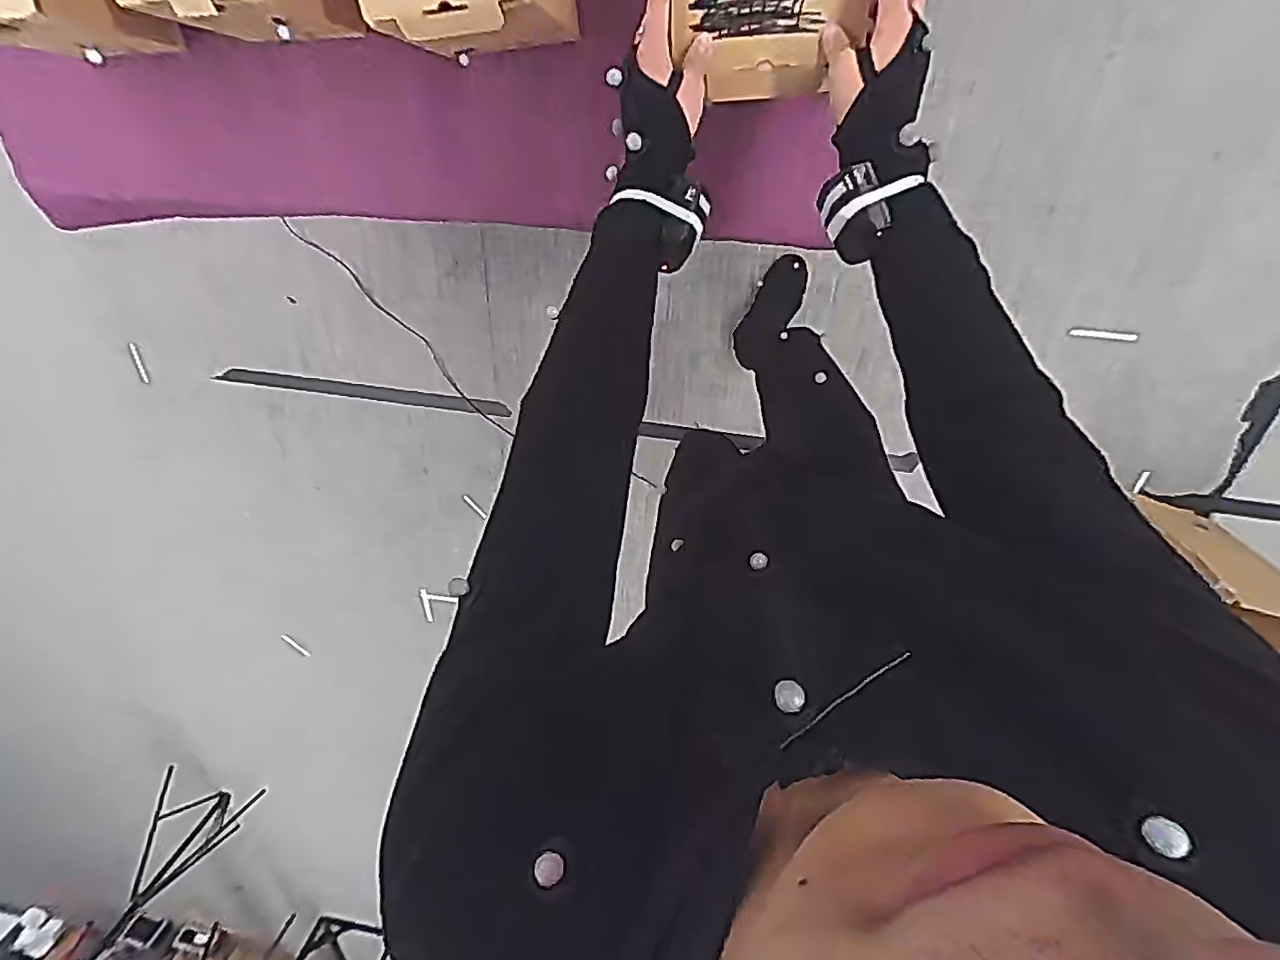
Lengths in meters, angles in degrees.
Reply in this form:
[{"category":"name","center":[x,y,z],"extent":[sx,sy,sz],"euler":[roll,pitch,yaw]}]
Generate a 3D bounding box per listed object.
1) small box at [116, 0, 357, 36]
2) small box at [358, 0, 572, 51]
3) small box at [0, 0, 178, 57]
[{"category":"small box","center":[-0.421,-0.573,0.547],"extent":[0.168,0.176,0.179],"euler":[5,119,7]},{"category":"small box","center":[-0.172,-0.539,0.519],"extent":[0.168,0.176,0.179],"euler":[0,119,10]},{"category":"small box","center":[-0.669,-0.584,0.583],"extent":[0.168,0.176,0.179],"euler":[4,120,9]}]
